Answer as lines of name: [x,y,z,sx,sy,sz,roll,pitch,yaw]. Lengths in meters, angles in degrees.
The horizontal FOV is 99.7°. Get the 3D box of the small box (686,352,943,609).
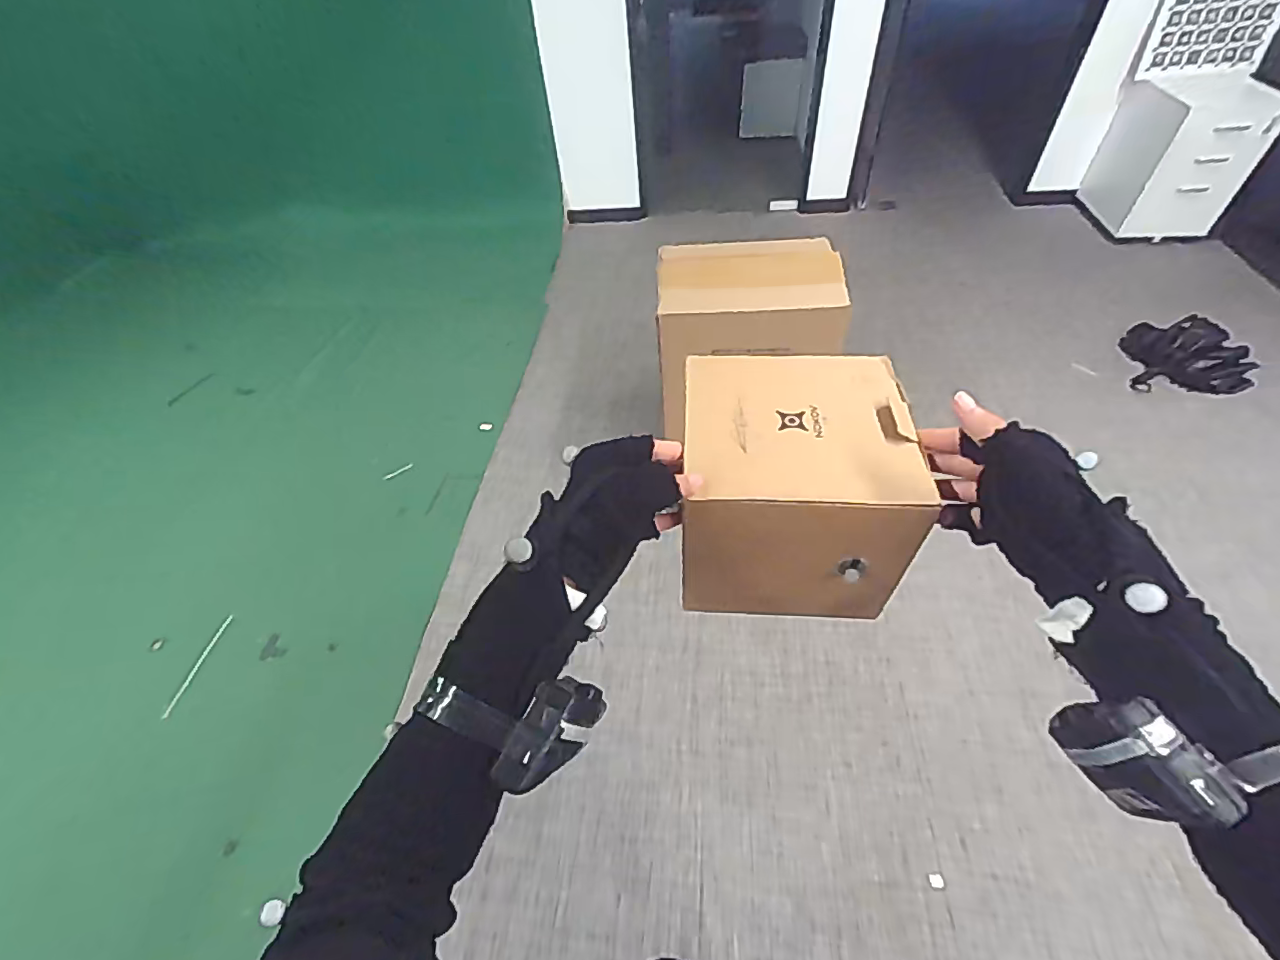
small box: [0.131,0.004,0.485,0.179,0.176,0.168,0,49,5]
